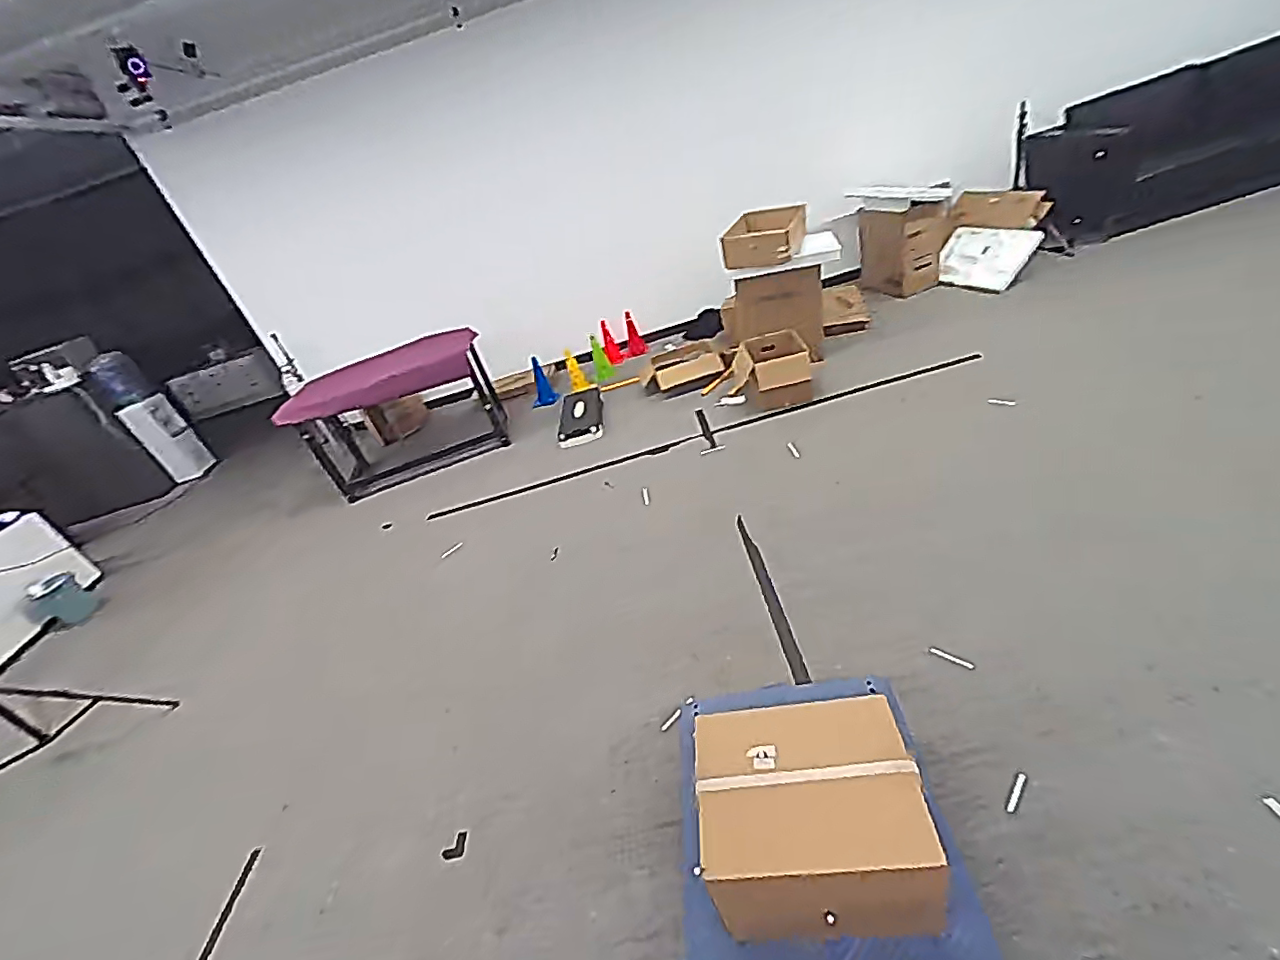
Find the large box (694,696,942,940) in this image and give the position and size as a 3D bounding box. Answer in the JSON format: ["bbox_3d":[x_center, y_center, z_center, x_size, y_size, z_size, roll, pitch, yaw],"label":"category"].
[{"bbox_3d":[0.350,0.698,1.117,0.408,0.320,0.320,-13,31,11],"label":"large box"}]
